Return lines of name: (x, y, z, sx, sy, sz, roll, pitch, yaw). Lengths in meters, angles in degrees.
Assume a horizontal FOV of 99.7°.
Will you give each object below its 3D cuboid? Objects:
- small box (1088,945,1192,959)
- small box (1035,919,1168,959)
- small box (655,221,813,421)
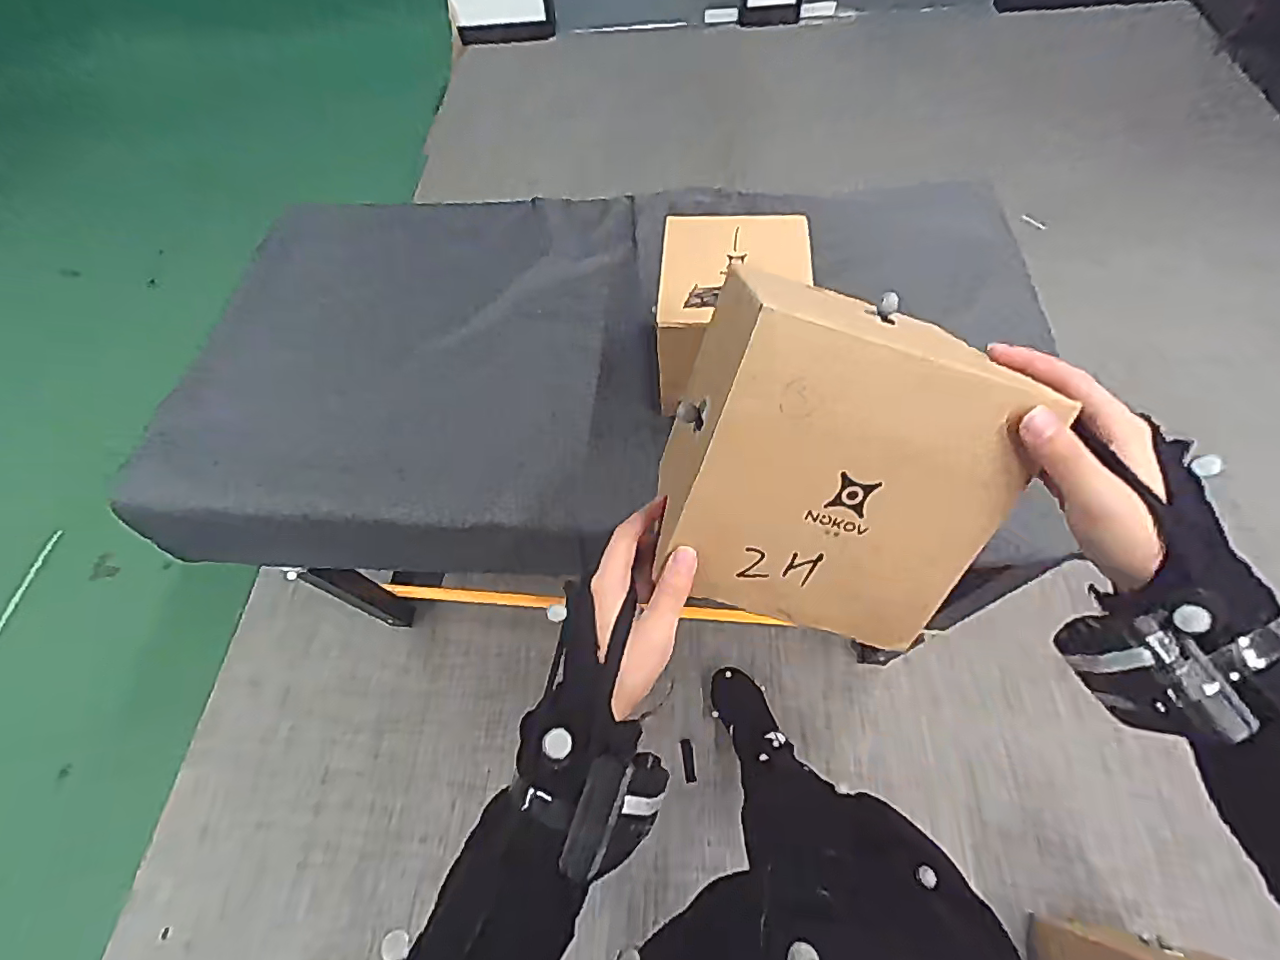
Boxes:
small box: (0.761, 0.765, 0.725, 0.168, 0.176, 0.179, 2, 60, 5)
small box: (0.778, 0.846, 0.866, 0.168, 0.176, 0.179, 4, 63, 7)
small box: (0.111, -0.188, 0.664, 0.168, 0.176, 0.179, 3, 61, 6)
